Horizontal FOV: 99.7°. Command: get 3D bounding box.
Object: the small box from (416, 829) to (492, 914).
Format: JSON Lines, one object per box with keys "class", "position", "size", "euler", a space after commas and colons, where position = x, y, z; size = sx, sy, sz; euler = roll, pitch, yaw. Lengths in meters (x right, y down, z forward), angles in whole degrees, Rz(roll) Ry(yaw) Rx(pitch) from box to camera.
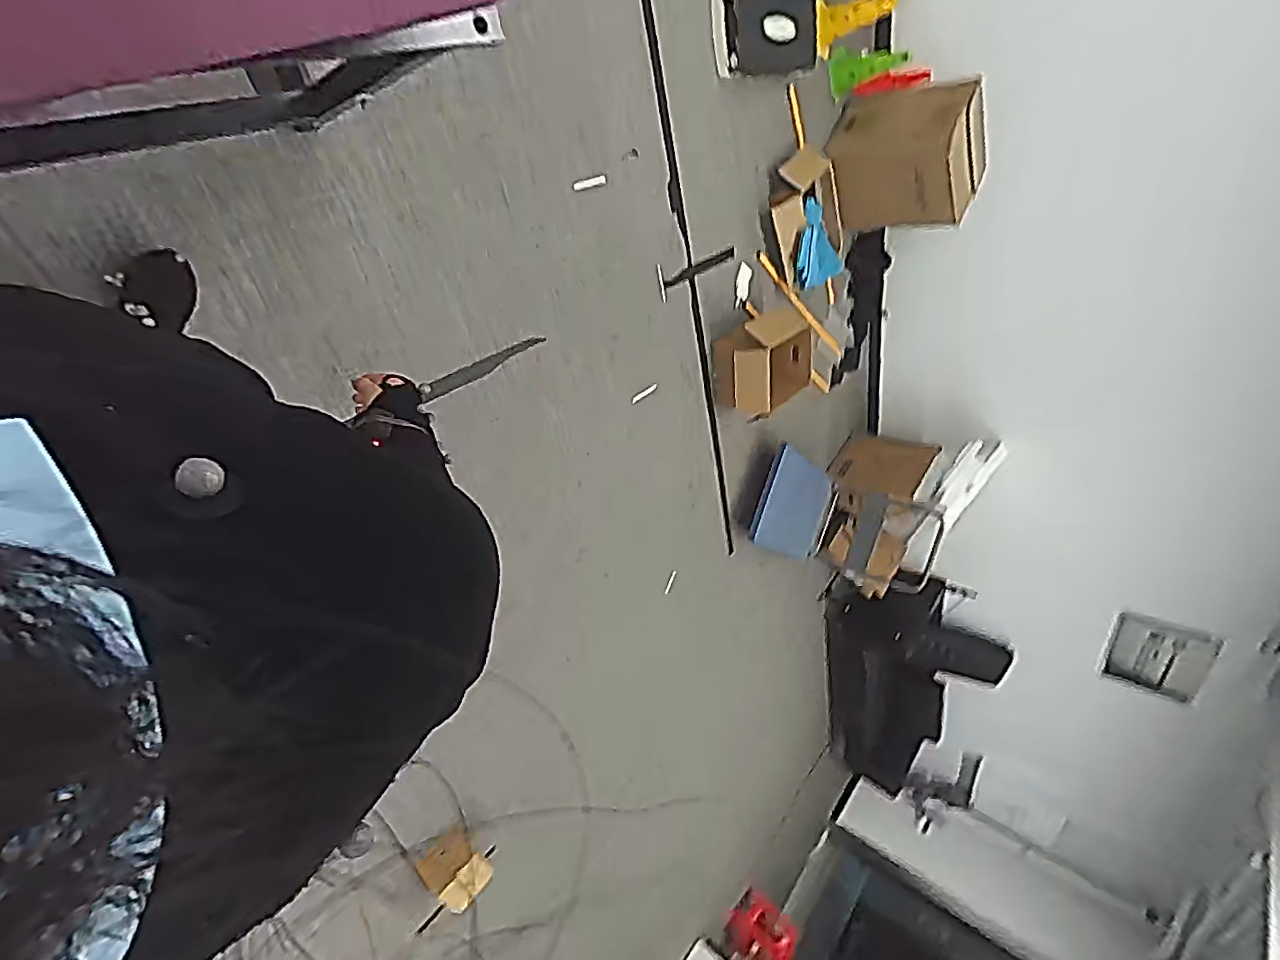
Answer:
{"class": "small box", "position": [-0.681, 1.428, 1.980], "size": [0.168, 0.176, 0.179], "euler": [-44, 132, -31]}
